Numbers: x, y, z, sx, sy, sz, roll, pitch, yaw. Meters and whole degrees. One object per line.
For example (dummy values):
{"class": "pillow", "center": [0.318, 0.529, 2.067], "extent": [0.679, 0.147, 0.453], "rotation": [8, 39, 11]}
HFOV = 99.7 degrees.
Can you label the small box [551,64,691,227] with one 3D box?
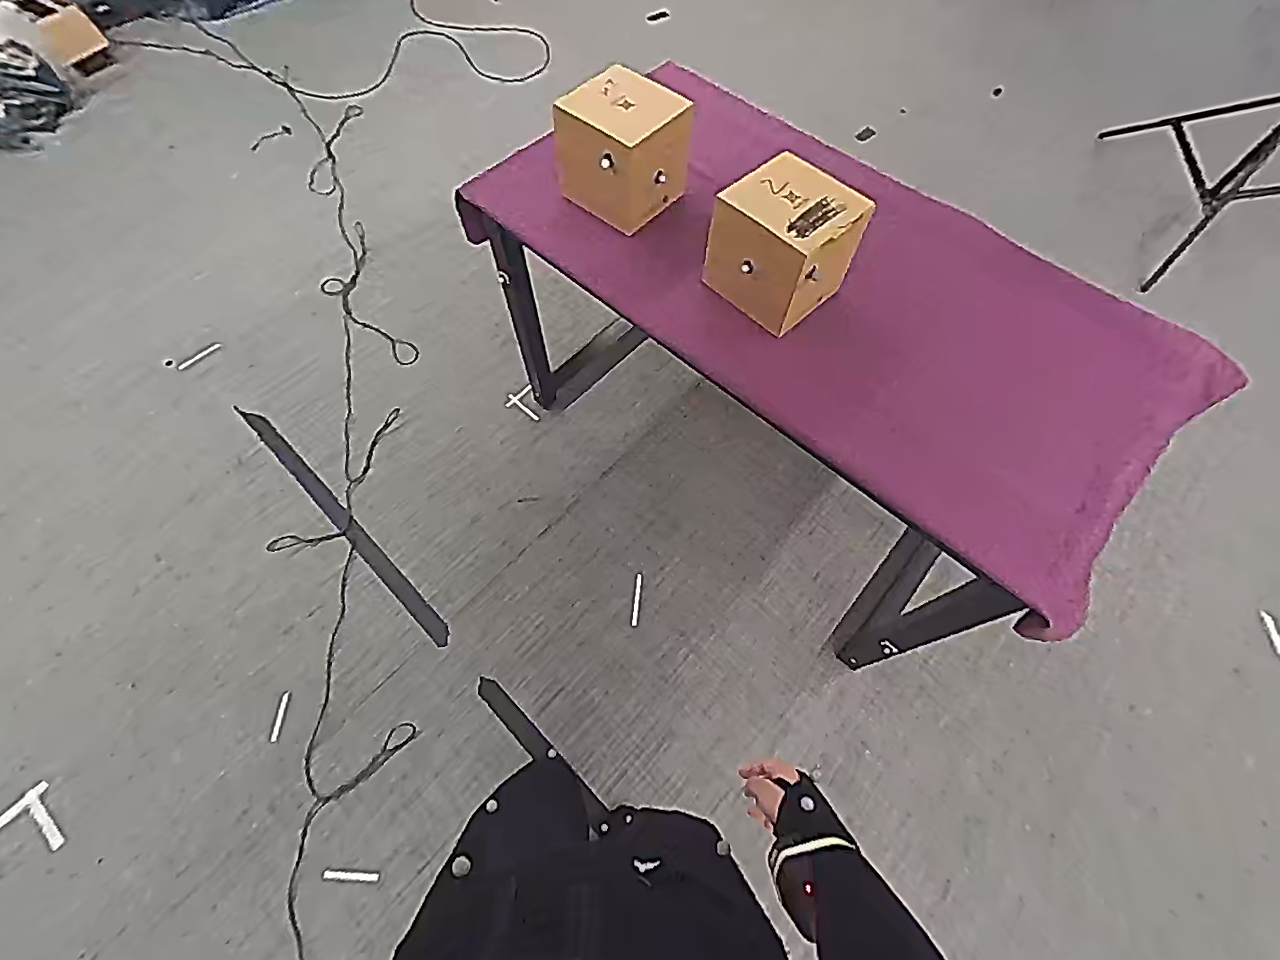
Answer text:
{"class": "small box", "center": [-0.033, -0.587, 0.964], "extent": [0.179, 0.176, 0.168], "rotation": [37, 68, 16]}
